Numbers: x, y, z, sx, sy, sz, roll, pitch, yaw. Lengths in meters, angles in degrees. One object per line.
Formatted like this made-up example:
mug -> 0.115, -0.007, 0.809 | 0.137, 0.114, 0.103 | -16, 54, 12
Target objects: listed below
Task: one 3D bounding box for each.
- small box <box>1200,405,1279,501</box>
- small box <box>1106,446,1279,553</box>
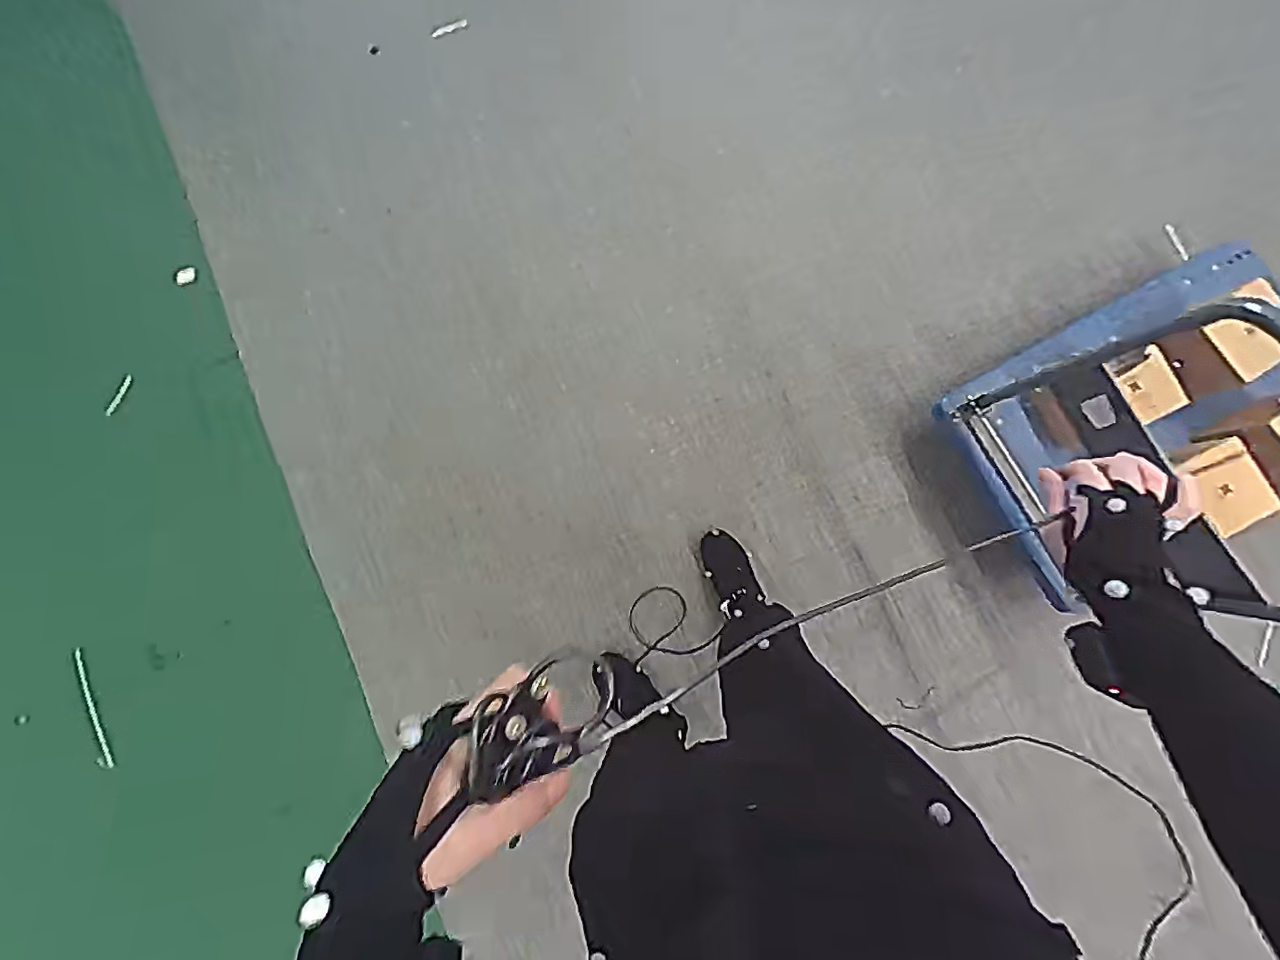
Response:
small box -> 1.403, -0.065, 1.171 | 0.179, 0.176, 0.168 | -30, 83, -1
small box -> 1.179, 0.045, 1.164 | 0.179, 0.176, 0.168 | -26, 84, -1
